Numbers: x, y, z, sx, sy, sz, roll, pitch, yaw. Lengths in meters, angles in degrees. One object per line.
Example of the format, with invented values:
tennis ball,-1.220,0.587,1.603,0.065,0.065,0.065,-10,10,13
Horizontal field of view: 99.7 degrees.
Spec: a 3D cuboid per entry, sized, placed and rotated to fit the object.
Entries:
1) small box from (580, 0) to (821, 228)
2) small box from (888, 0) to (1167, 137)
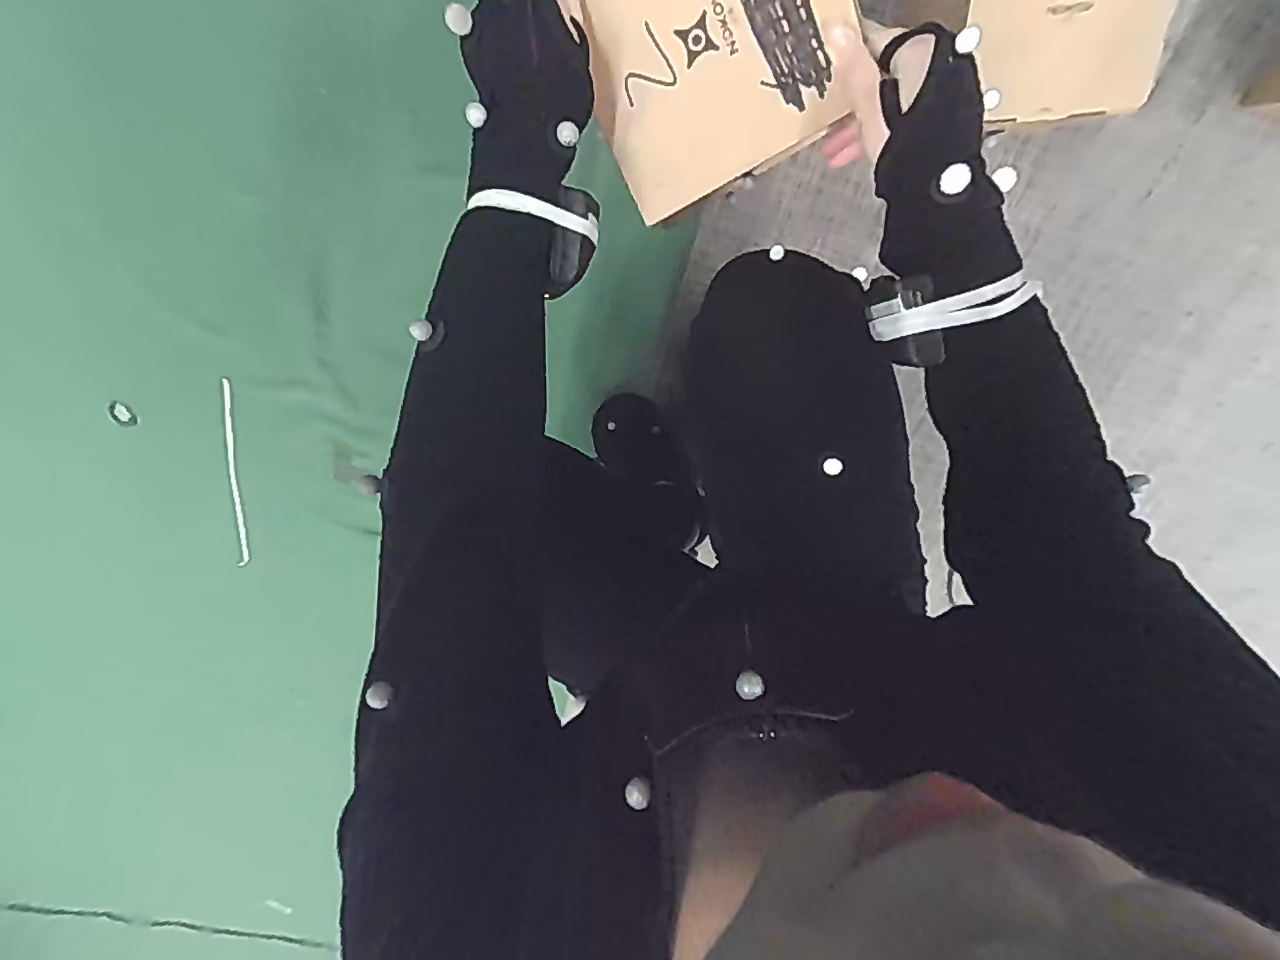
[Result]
small box,0.063,-0.387,0.567,0.179,0.176,0.168,-25,113,16
small box,0.354,-0.435,0.516,0.168,0.176,0.179,0,119,5
